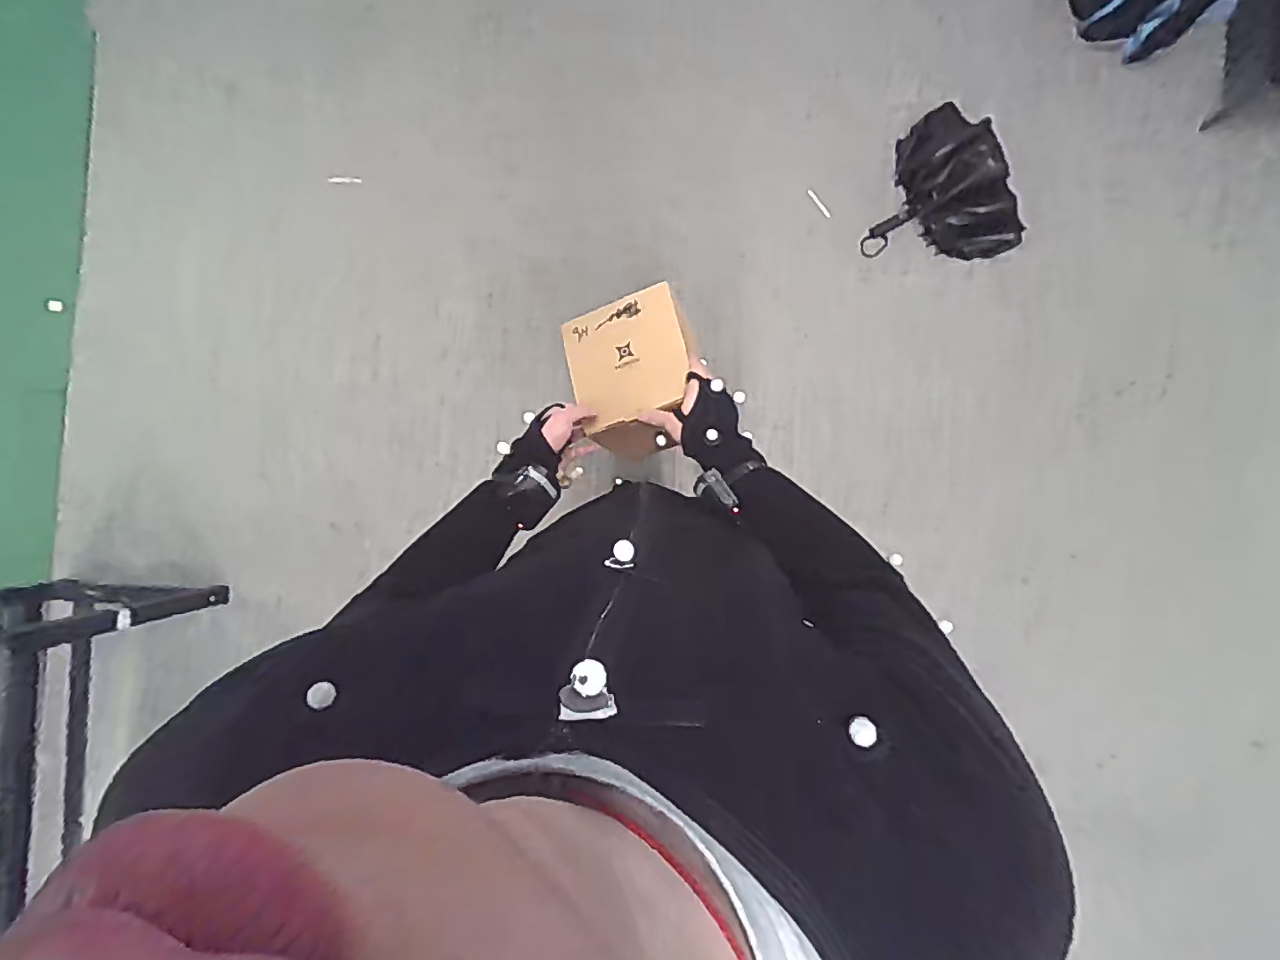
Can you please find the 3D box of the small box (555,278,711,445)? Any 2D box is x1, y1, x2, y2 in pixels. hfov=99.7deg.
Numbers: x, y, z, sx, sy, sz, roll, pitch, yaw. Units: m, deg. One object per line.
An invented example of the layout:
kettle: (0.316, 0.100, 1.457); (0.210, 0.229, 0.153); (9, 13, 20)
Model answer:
small box: (-0.004, -0.161, 0.816); (0.168, 0.176, 0.179); (-18, 75, 16)
